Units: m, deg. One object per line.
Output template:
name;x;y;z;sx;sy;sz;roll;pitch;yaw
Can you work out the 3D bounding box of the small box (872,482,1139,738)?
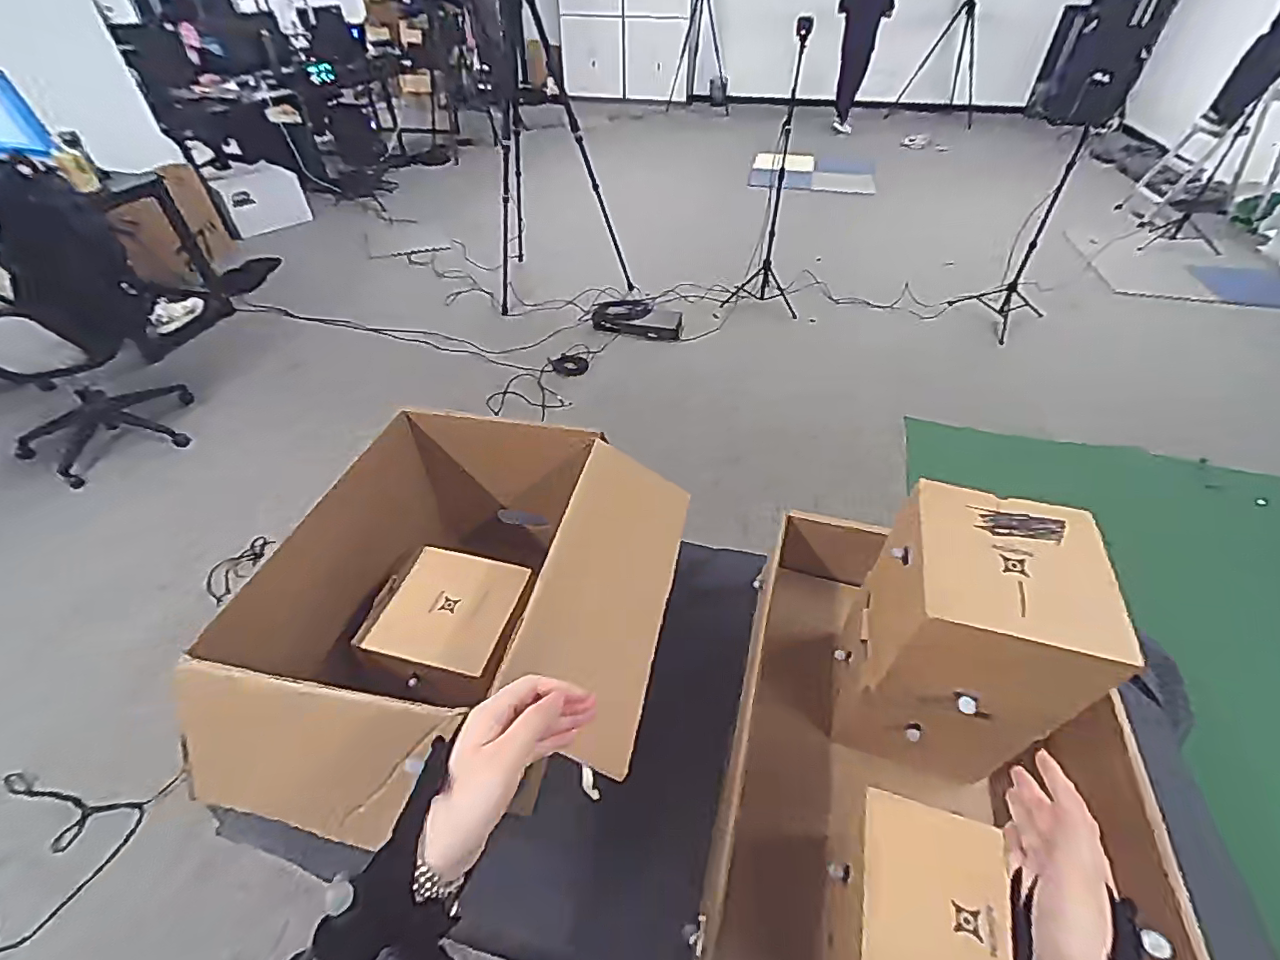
small box;0.351;0.134;0.565;0.168;0.176;0.179;12;48;13
